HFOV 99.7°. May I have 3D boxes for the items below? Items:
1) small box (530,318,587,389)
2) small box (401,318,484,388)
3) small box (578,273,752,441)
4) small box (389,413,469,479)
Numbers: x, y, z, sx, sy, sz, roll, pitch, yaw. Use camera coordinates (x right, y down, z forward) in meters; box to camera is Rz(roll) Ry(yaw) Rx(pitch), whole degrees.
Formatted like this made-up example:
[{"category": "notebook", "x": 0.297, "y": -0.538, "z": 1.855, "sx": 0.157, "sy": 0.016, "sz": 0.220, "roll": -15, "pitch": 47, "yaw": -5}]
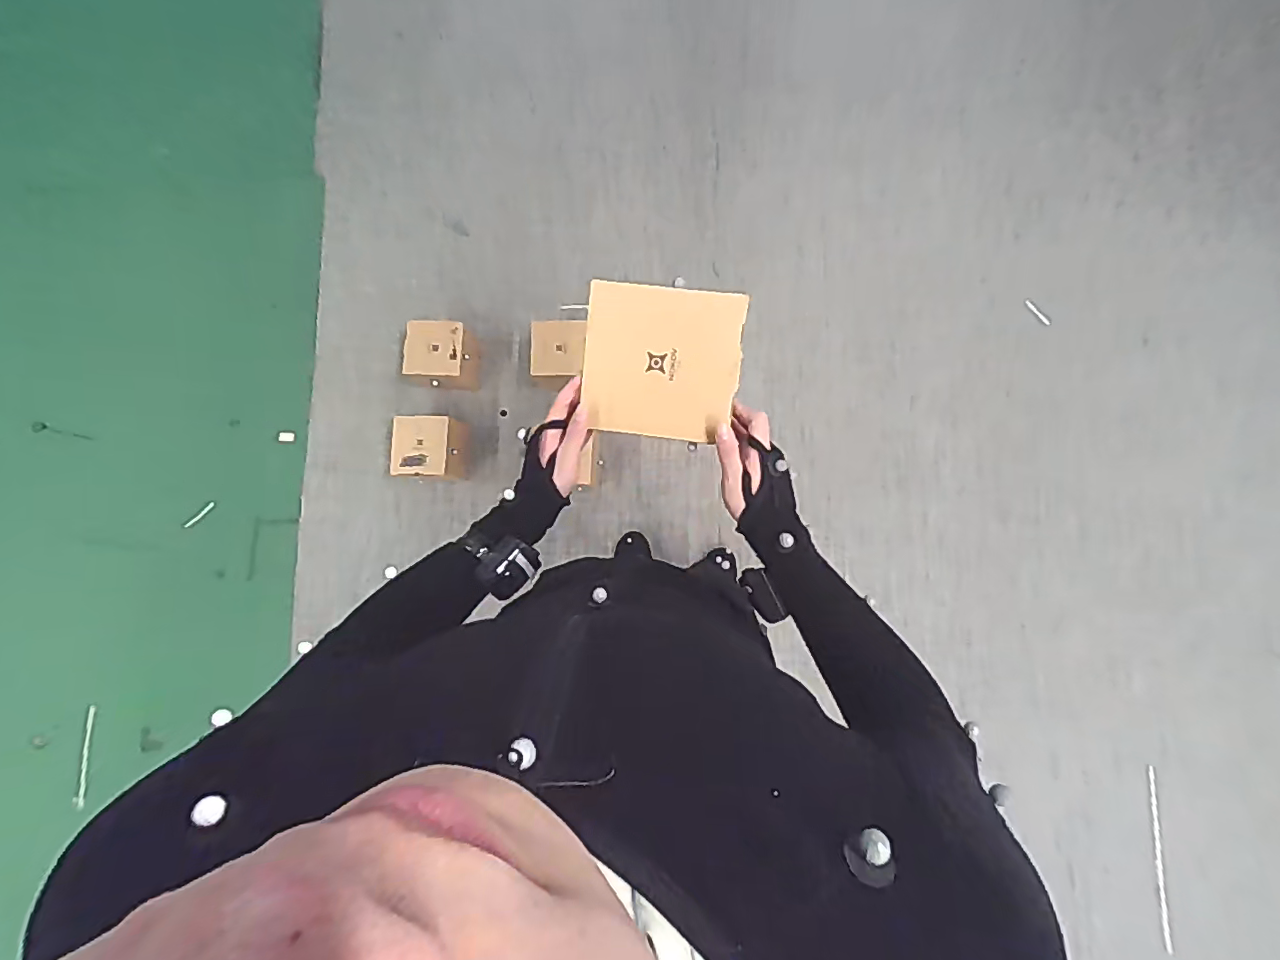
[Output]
[{"category": "small box", "x": -0.221, "y": -0.377, "z": 1.628, "sx": 0.179, "sy": 0.176, "sz": 0.168, "roll": 0, "pitch": 84, "yaw": 4}, {"category": "small box", "x": -0.598, "y": -0.384, "z": 1.653, "sx": 0.179, "sy": 0.176, "sz": 0.168, "roll": 3, "pitch": 85, "yaw": 5}, {"category": "small box", "x": 0.031, "y": -0.145, "z": 0.671, "sx": 0.179, "sy": 0.176, "sz": 0.168, "roll": 7, "pitch": 100, "yaw": 3}, {"category": "small box", "x": -0.628, "y": -0.097, "z": 1.626, "sx": 0.168, "sy": 0.176, "sz": 0.179, "roll": 2, "pitch": 84, "yaw": 3}]
